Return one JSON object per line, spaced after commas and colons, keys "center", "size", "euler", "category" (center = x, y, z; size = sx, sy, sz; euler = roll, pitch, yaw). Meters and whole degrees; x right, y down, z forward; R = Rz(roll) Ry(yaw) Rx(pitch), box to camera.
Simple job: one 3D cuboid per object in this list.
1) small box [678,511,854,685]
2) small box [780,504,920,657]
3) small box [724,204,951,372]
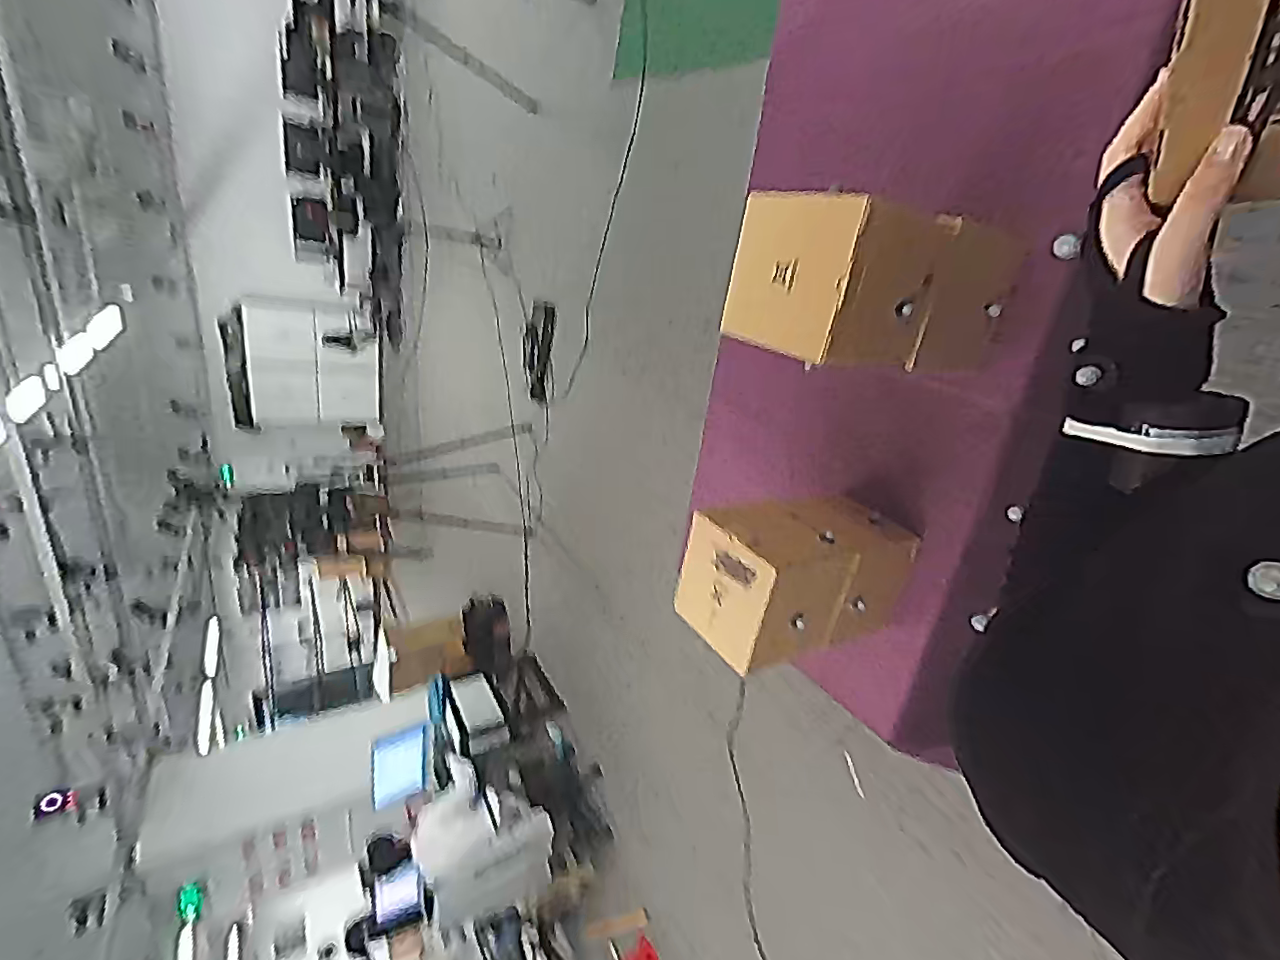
{"center": [0.184, 0.158, 0.795], "size": [0.168, 0.176, 0.179], "euler": [36, 123, 48], "category": "small box"}
{"center": [0.321, 0.153, 0.886], "size": [0.168, 0.176, 0.179], "euler": [37, 123, 48], "category": "small box"}
{"center": [0.237, -0.233, 0.669], "size": [0.179, 0.176, 0.168], "euler": [36, 123, 48], "category": "small box"}
